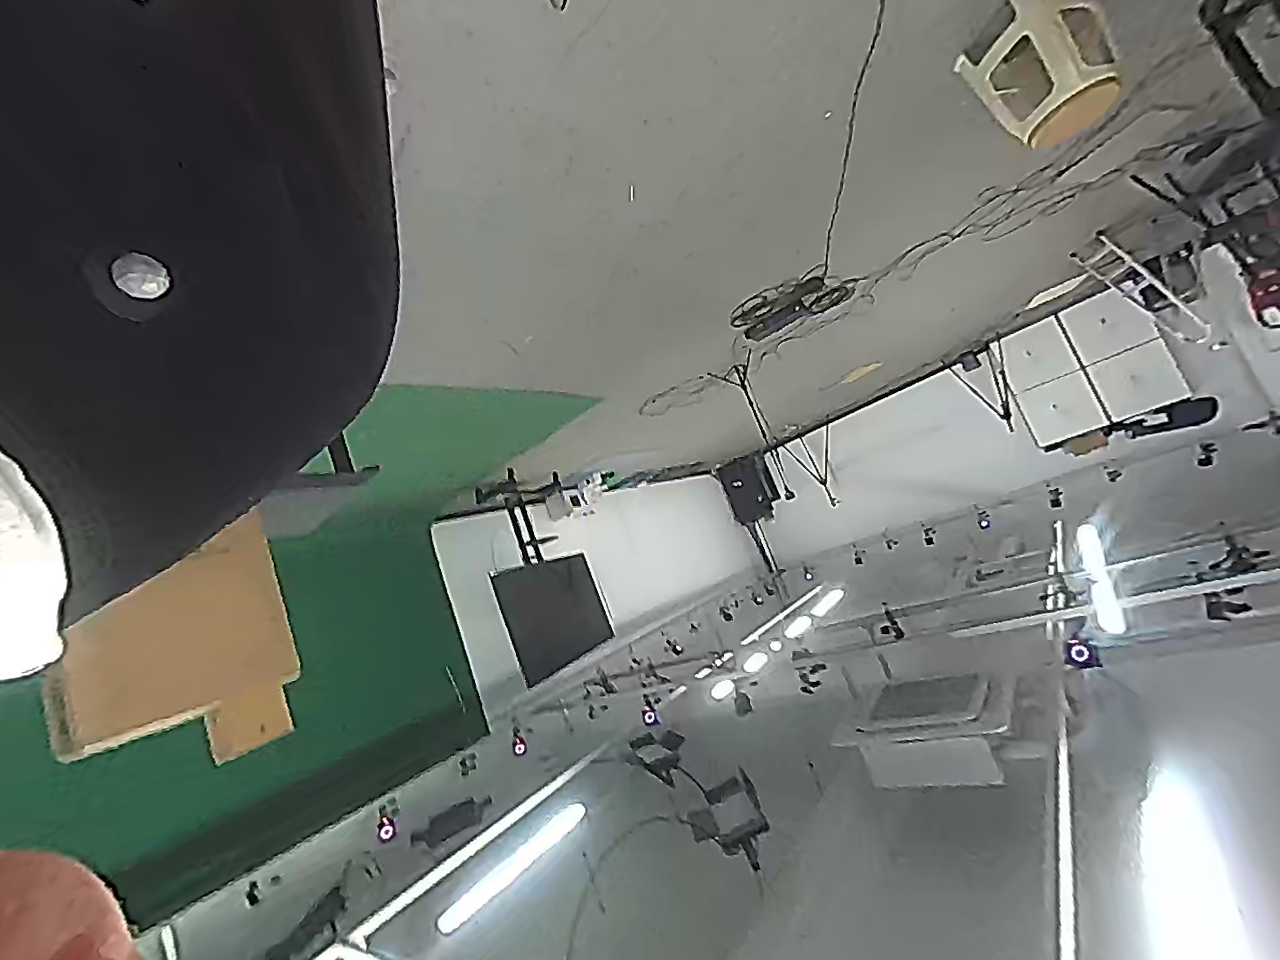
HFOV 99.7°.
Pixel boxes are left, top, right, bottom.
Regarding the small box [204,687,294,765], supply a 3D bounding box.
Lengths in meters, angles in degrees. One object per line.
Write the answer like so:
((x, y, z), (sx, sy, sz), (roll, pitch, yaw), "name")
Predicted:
((-1.289, 0.803, 1.780), (0.168, 0.176, 0.179), (-30, 168, 30), "small box")
